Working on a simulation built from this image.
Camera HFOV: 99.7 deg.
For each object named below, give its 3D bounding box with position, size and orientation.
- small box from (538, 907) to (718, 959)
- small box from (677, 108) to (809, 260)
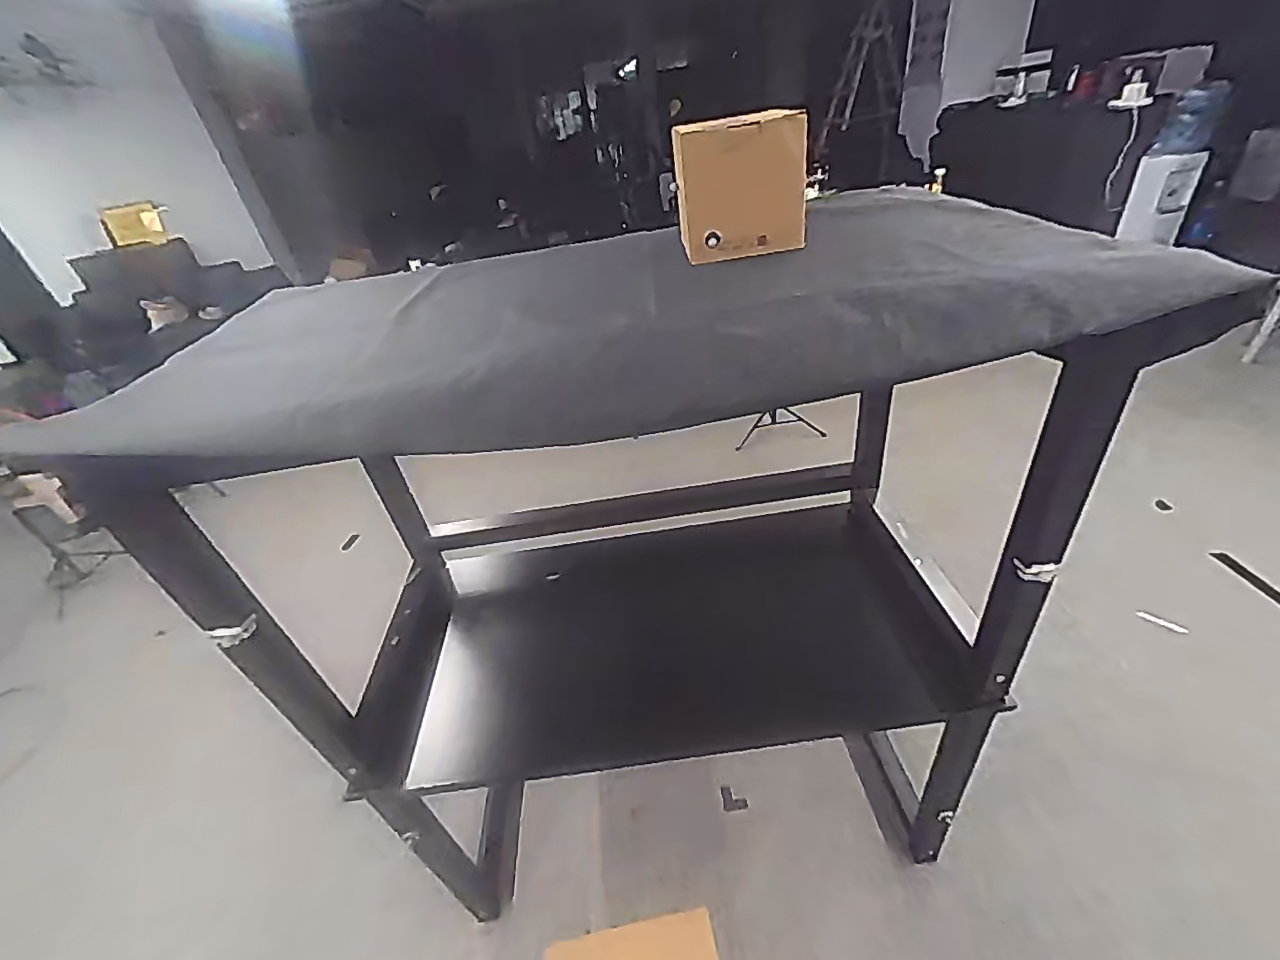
[{"bbox_3d":[0.006,0.561,0.528,0.179,0.176,0.168,-14,34,-1],"label":"small box"},{"bbox_3d":[0.149,-0.437,0.806,0.168,0.176,0.179,-6,35,4],"label":"small box"}]
